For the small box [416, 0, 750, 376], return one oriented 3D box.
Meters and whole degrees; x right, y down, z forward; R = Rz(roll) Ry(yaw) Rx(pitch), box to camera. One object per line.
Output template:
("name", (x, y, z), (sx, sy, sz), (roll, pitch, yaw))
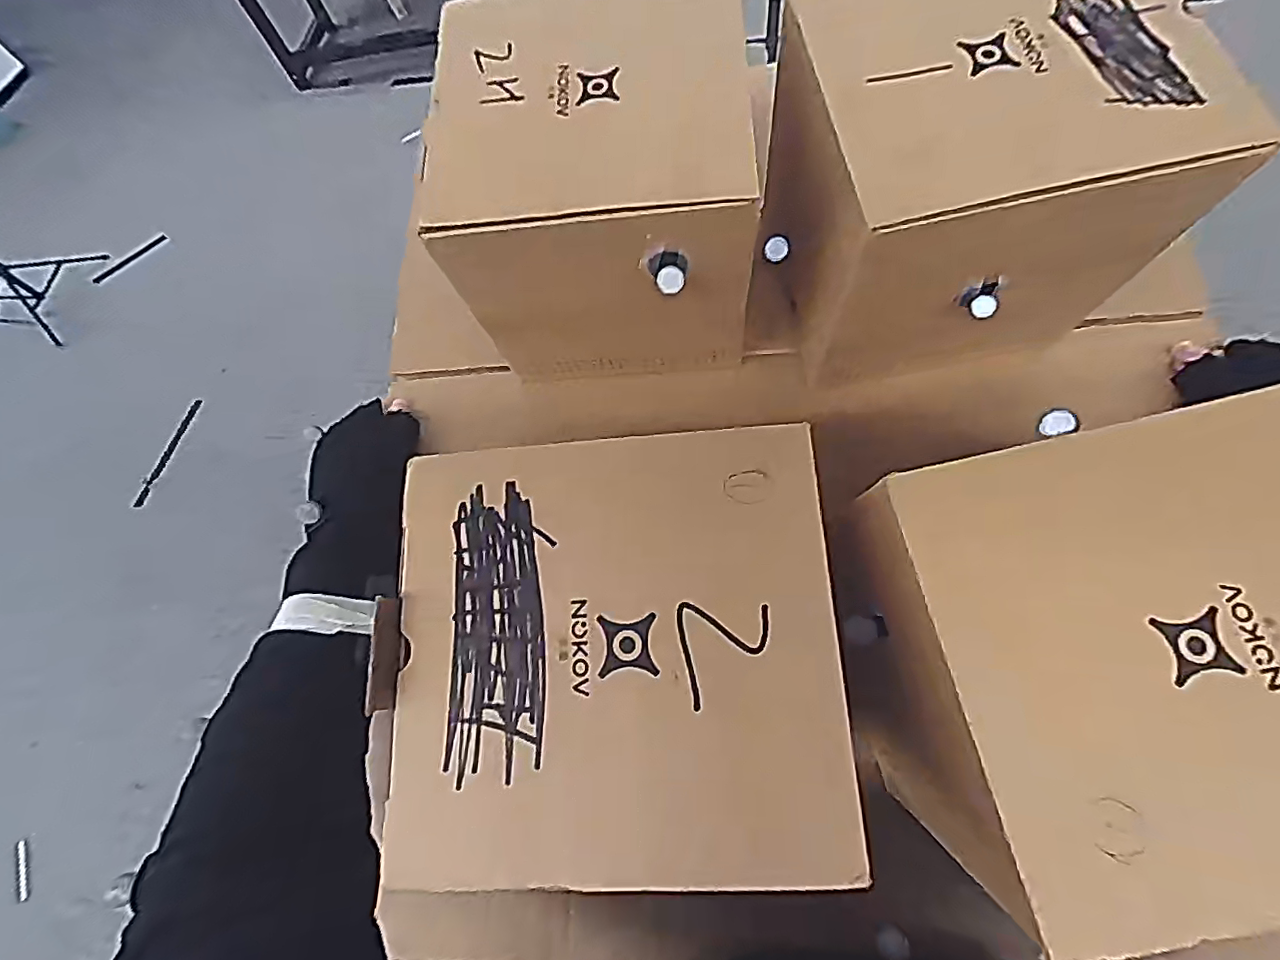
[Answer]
("small box", (-0.022, -0.184, 0.373), (0.179, 0.176, 0.168), (-2, 73, 7))
